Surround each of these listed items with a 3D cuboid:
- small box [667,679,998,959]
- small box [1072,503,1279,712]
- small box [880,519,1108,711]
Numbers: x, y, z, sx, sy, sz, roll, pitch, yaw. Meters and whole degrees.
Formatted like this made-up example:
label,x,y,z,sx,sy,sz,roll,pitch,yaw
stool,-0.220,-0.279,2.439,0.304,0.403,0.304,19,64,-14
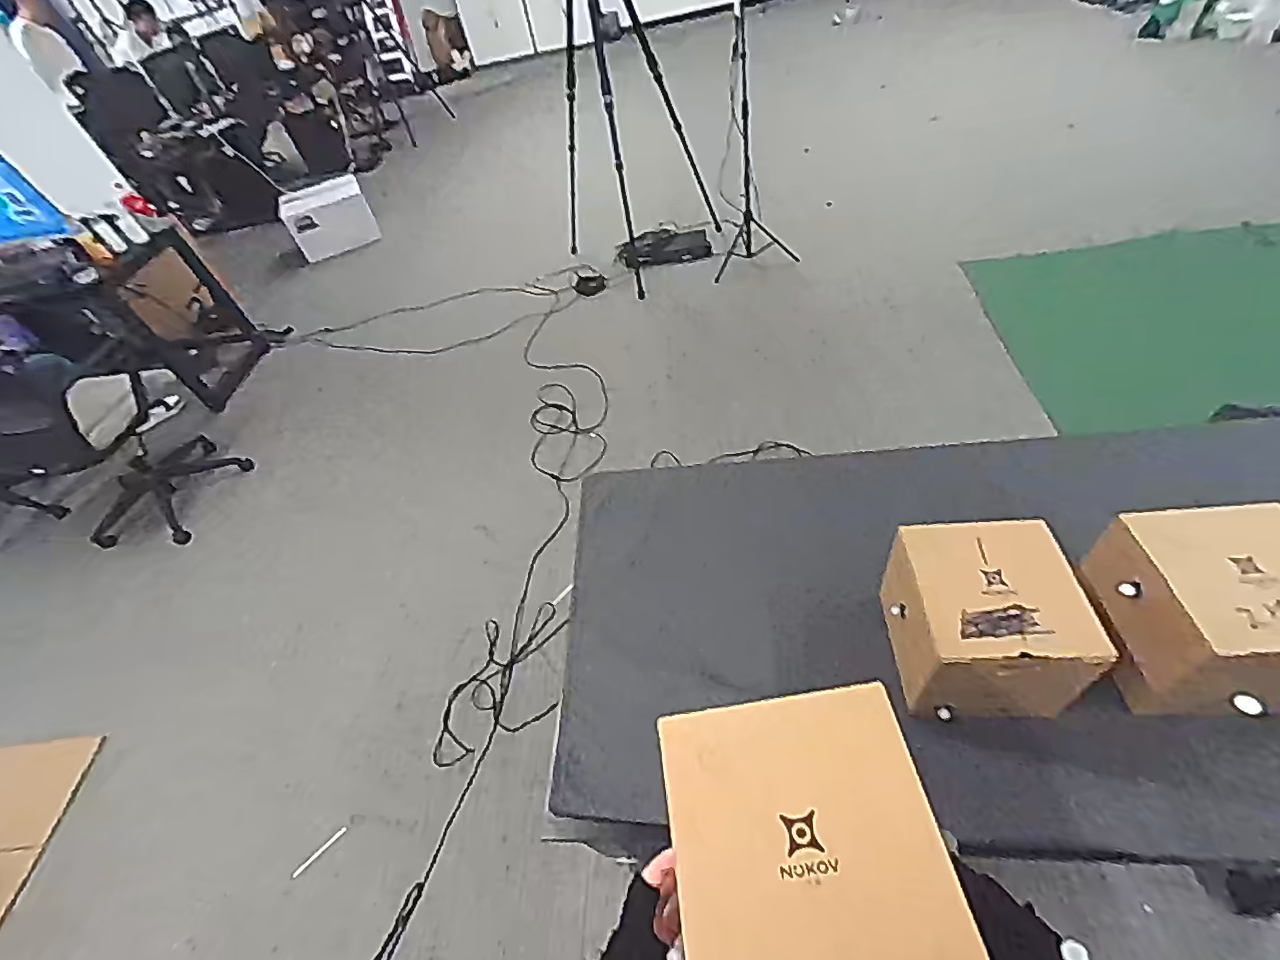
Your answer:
label,x,y,z,sx,sy,sz,roll,pitch,yaw
small box,0.117,0.271,0.397,0.168,0.176,0.179,-11,51,3
small box,0.646,0.149,0.623,0.168,0.176,0.179,-5,48,9
small box,0.407,0.170,0.662,0.168,0.176,0.179,-4,47,10
